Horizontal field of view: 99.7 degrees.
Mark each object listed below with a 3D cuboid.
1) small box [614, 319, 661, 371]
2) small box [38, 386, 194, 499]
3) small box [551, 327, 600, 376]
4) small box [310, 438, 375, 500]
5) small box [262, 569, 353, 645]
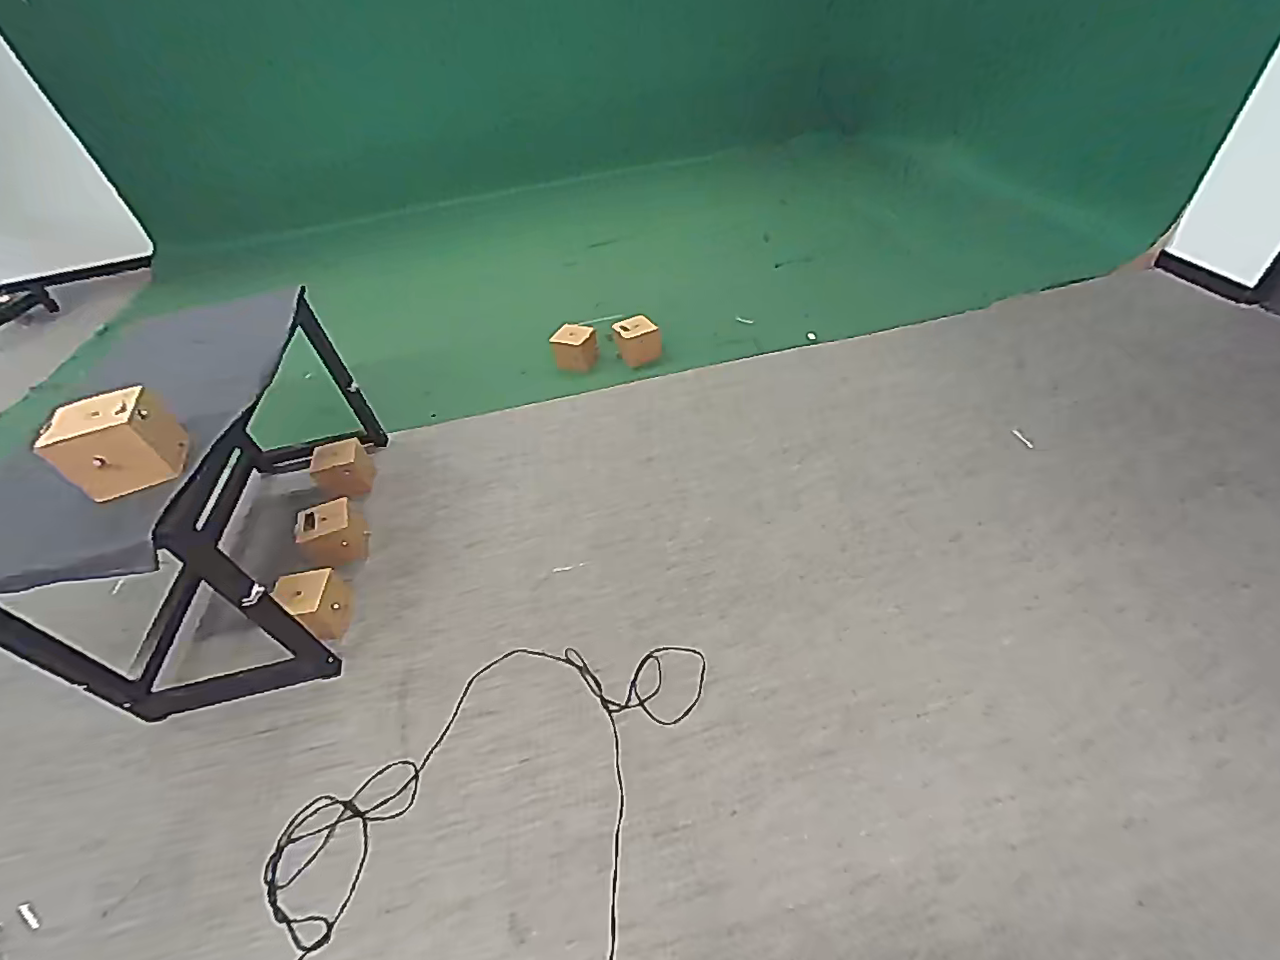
[{"bbox_3d":[-0.010,-0.666,2.676,0.179,0.176,0.168,-23,47,-15],"label":"small box"},{"bbox_3d":[-1.187,-0.084,1.243,0.179,0.176,0.168,-21,46,-13],"label":"small box"},{"bbox_3d":[-0.315,-0.639,2.697,0.179,0.176,0.168,13,48,21],"label":"small box"},{"bbox_3d":[-1.224,-0.045,2.241,0.179,0.176,0.168,-16,45,-7],"label":"small box"},{"bbox_3d":[-1.073,0.417,1.765,0.179,0.176,0.168,-10,45,0],"label":"small box"}]
